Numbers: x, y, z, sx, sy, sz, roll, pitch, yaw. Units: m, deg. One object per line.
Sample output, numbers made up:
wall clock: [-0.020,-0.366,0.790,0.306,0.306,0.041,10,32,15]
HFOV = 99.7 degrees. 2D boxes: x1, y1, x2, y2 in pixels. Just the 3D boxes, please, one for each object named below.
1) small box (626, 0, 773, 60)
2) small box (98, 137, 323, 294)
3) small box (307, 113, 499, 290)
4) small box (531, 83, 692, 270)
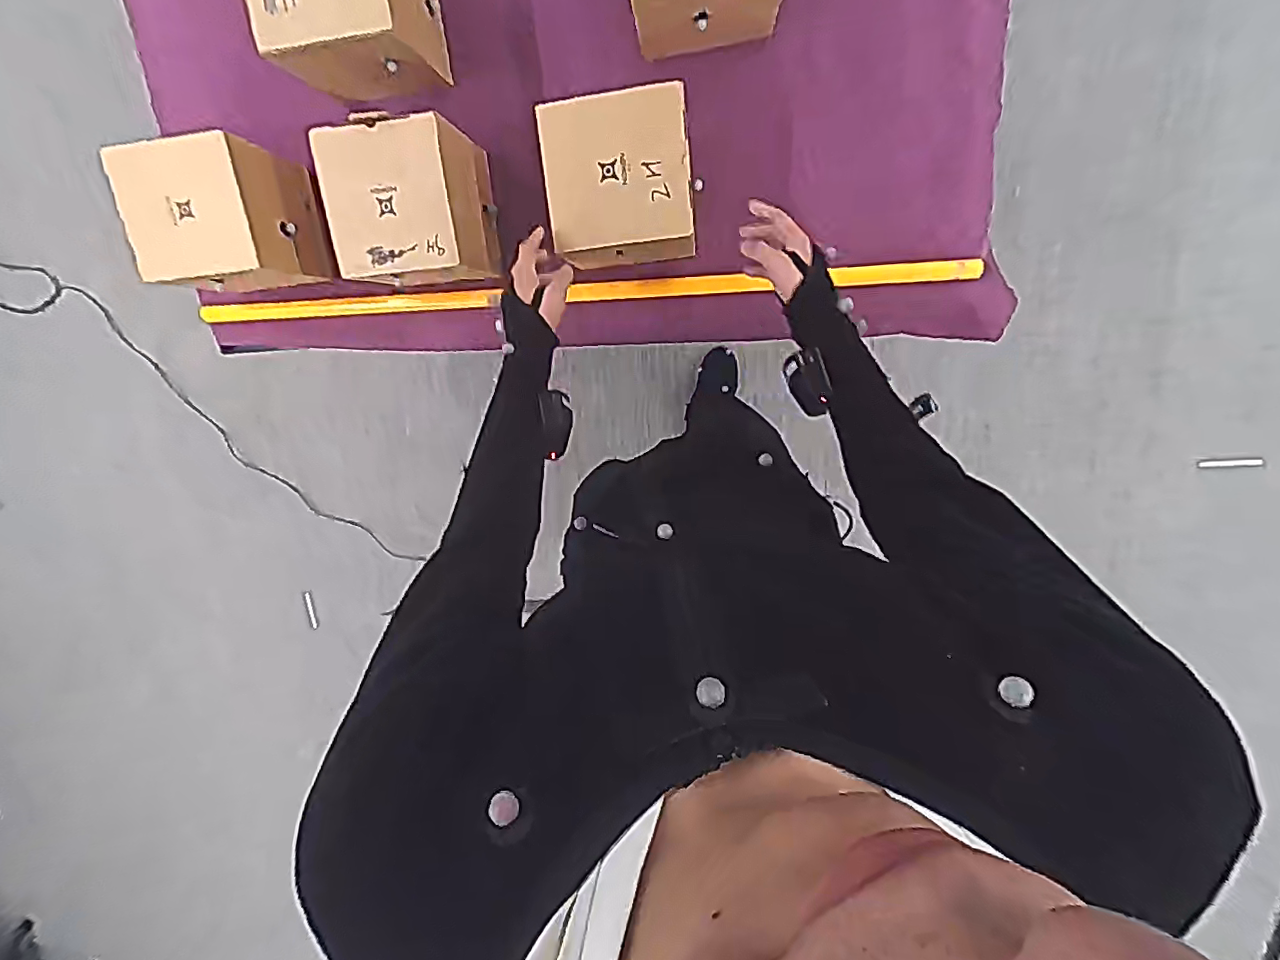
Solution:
small box: [0.067,-0.633,0.630,0.179,0.176,0.168,-5,106,8]
small box: [-0.589,-0.364,0.773,0.179,0.176,0.168,-4,105,7]
small box: [-0.310,-0.367,0.744,0.168,0.176,0.179,-3,105,8]
small box: [-0.026,-0.380,0.711,0.179,0.176,0.168,-5,104,7]
